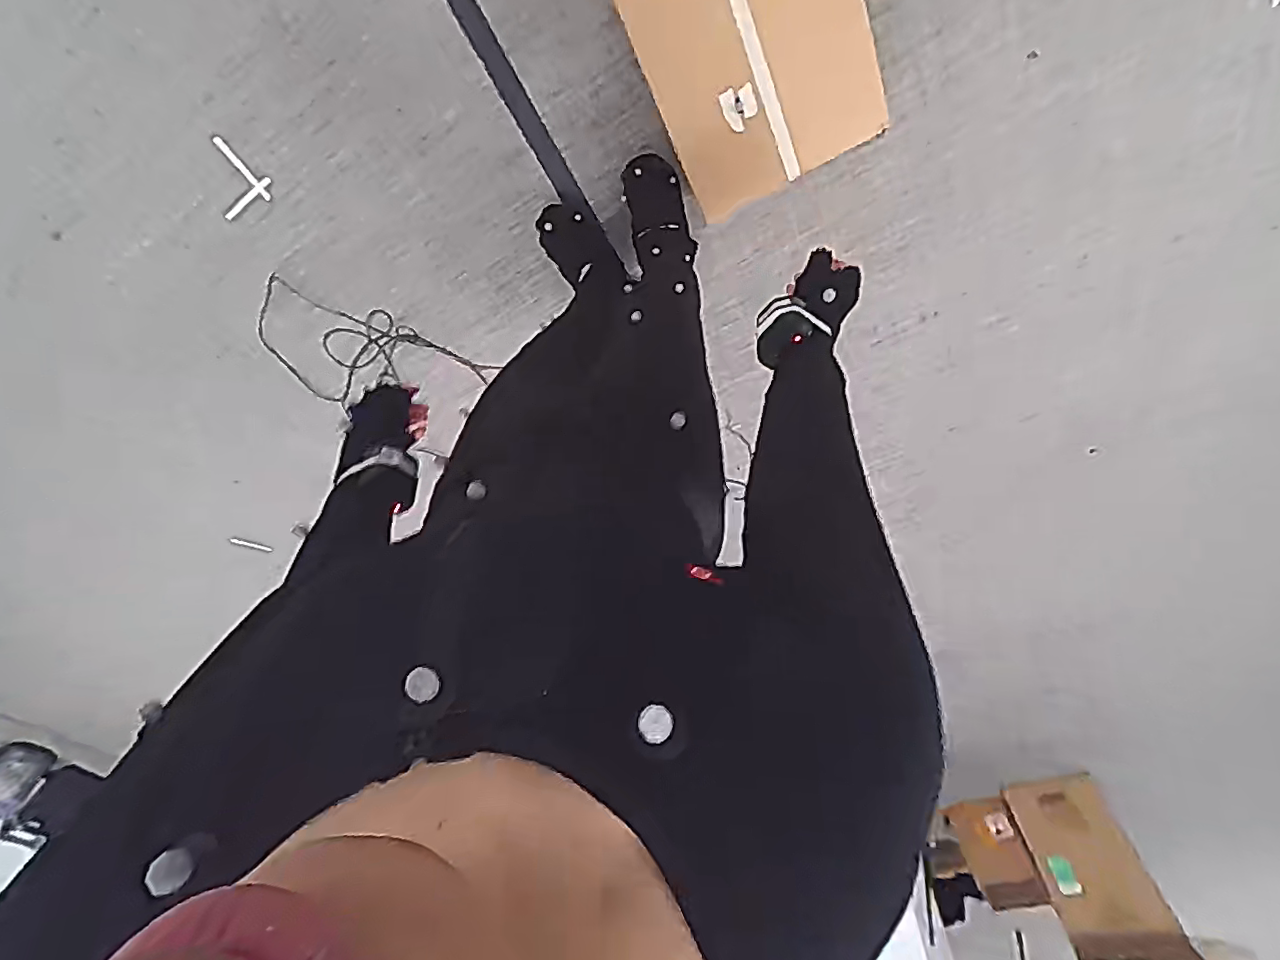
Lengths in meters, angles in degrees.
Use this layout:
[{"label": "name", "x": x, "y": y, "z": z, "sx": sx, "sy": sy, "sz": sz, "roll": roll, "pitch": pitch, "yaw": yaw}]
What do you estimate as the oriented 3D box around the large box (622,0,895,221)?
[{"label": "large box", "x": 0.181, "y": -0.736, "z": 0.914, "sx": 0.320, "sy": 0.320, "sz": 0.408, "roll": -21, "pitch": 125, "yaw": 18}]
